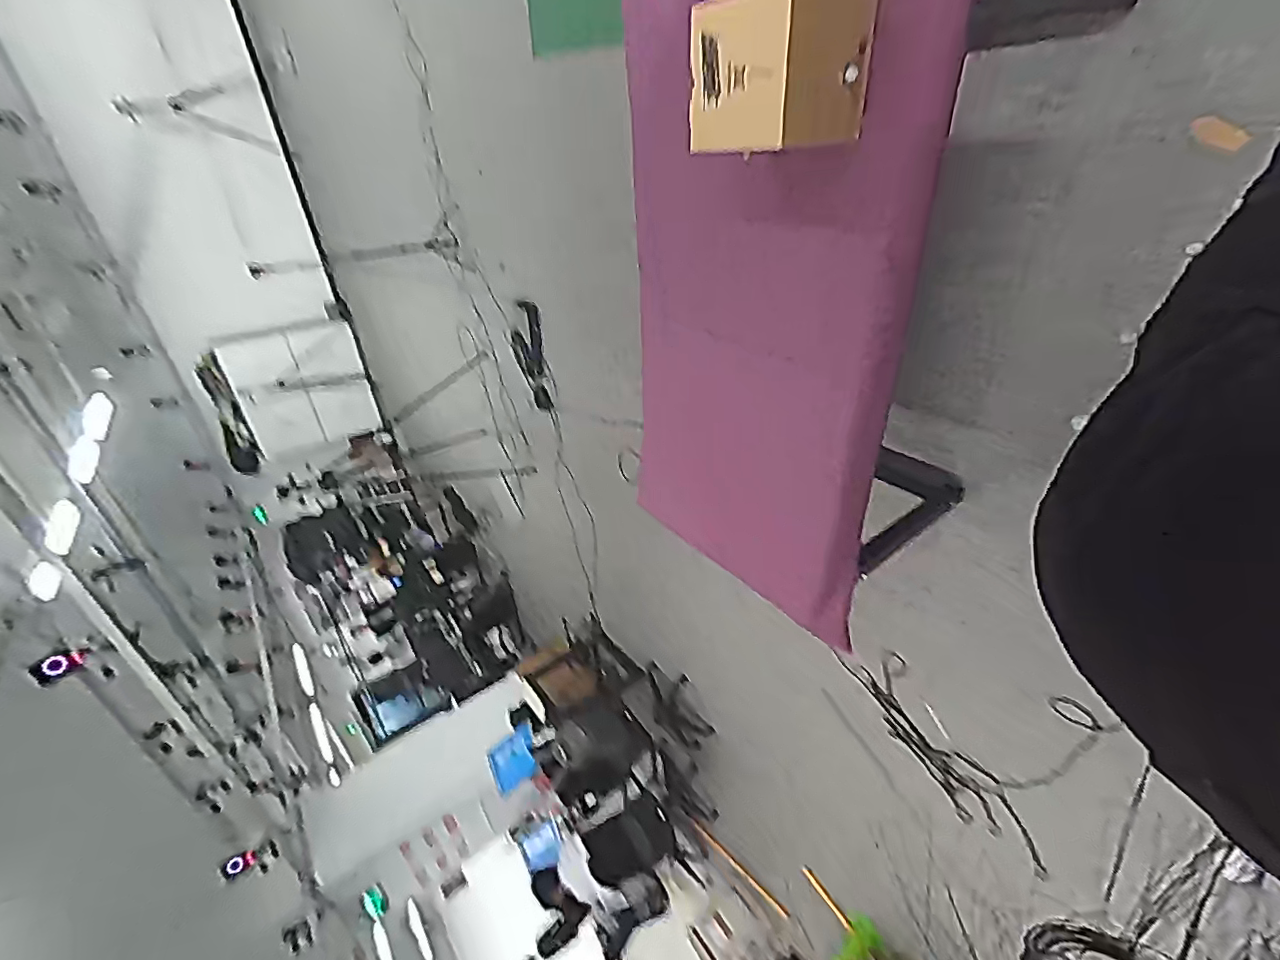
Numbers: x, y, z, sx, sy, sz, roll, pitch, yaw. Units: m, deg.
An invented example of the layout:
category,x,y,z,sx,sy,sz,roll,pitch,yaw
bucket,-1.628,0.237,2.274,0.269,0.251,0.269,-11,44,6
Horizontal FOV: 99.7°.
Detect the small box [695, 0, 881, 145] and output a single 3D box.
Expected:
category,x,y,z,sx,sy,sz,roll,pitch,yaw
small box,0.195,-0.562,0.745,0.179,0.176,0.168,34,139,44
